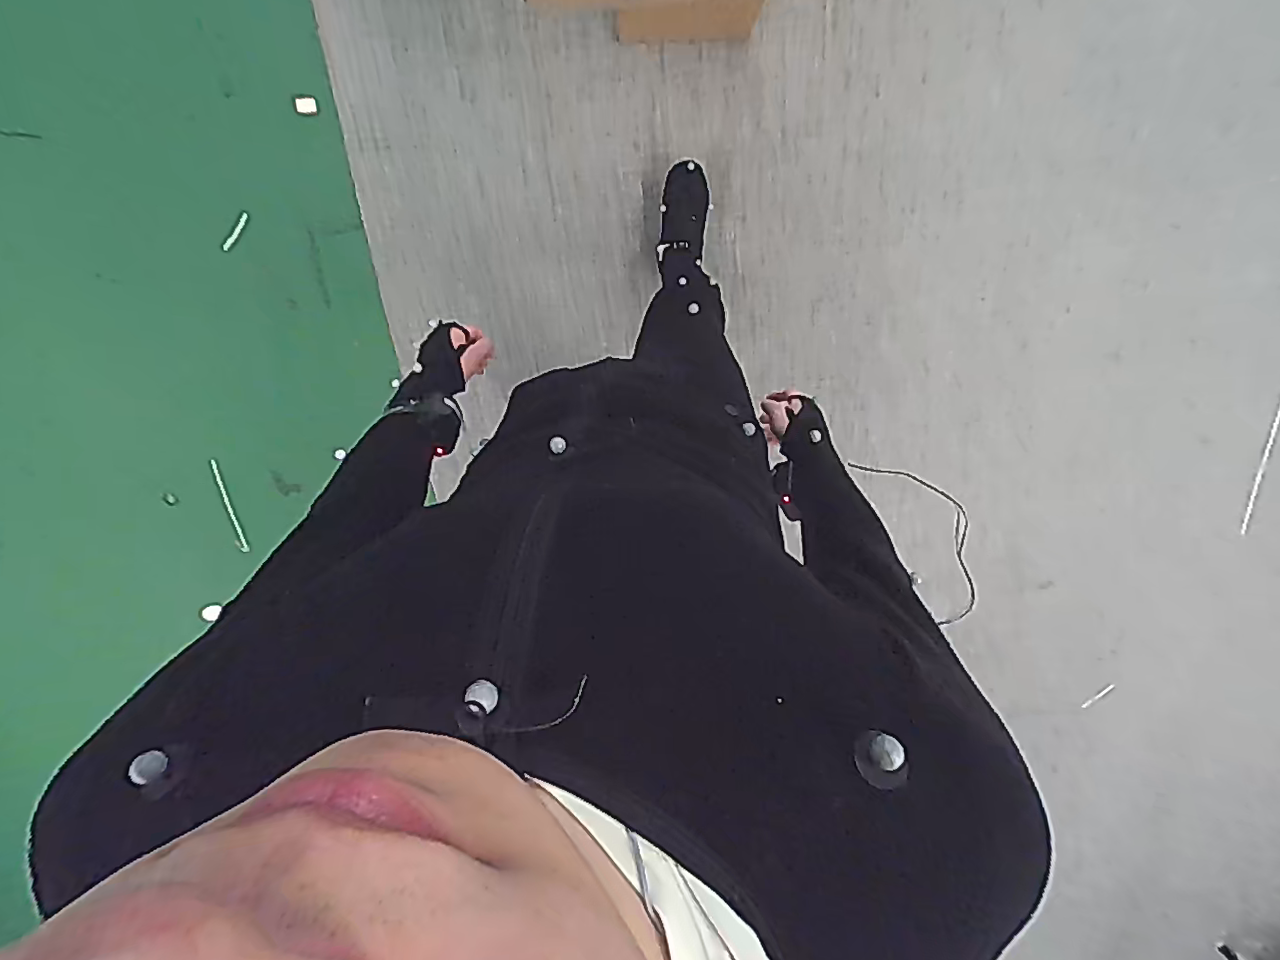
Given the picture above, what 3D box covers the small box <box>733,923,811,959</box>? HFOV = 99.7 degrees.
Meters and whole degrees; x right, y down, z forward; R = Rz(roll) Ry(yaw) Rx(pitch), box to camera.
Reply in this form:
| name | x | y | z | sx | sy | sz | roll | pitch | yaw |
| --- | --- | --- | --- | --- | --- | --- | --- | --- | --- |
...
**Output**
| name | x | y | z | sx | sy | sz | roll | pitch | yaw |
| --- | --- | --- | --- | --- | --- | --- | --- | --- | --- |
| small box | 0.310 | 1.151 | 1.234 | 0.168 | 0.176 | 0.179 | -7 | 112 | 3 |
